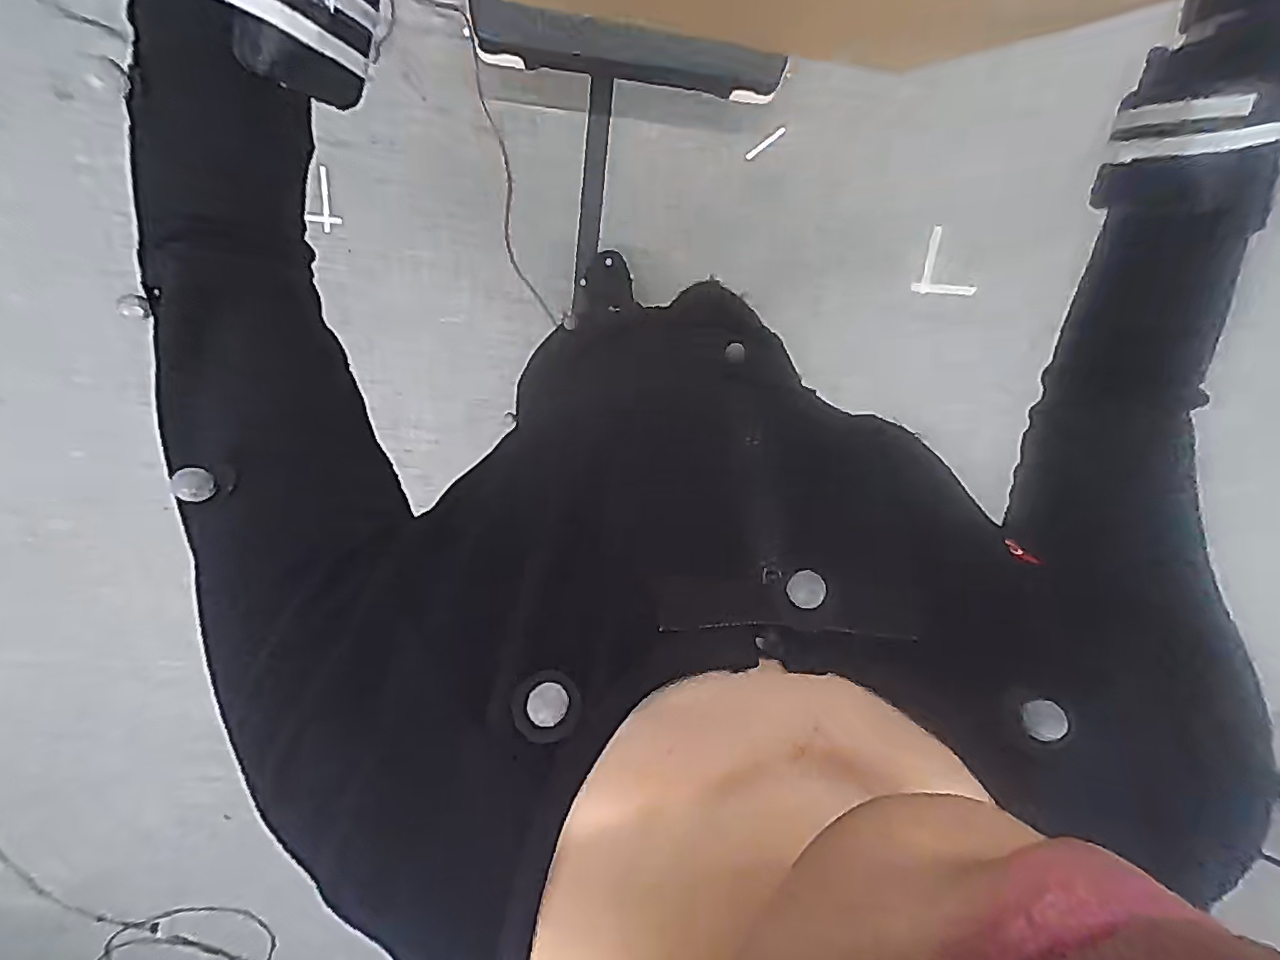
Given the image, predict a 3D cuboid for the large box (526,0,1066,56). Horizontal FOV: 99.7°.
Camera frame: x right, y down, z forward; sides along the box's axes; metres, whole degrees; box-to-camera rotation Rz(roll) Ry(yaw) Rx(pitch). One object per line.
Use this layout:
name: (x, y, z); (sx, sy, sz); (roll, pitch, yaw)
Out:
large box: (0.099, -0.487, 0.314); (0.408, 0.320, 0.320); (3, 121, -8)
